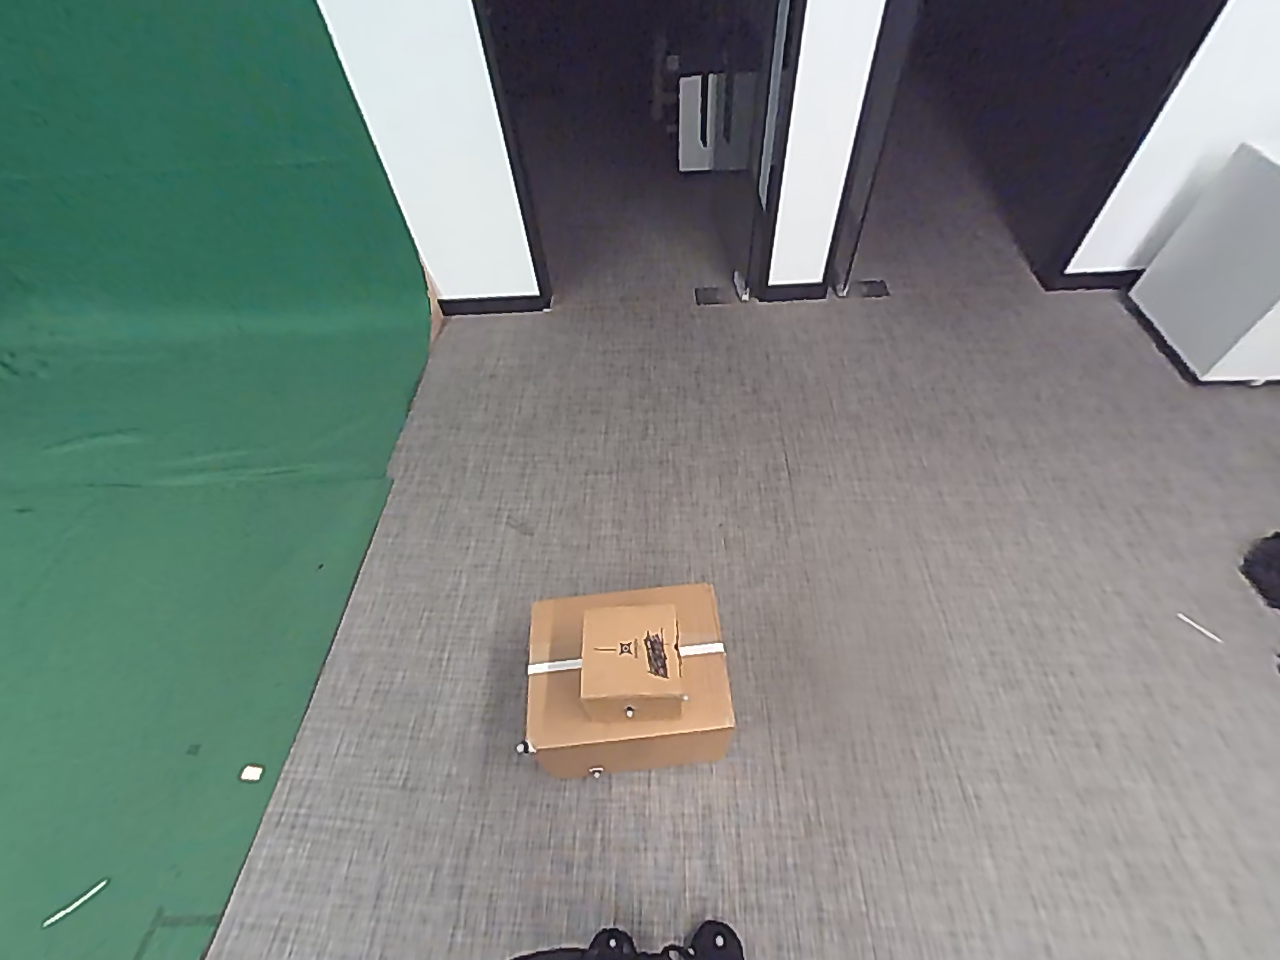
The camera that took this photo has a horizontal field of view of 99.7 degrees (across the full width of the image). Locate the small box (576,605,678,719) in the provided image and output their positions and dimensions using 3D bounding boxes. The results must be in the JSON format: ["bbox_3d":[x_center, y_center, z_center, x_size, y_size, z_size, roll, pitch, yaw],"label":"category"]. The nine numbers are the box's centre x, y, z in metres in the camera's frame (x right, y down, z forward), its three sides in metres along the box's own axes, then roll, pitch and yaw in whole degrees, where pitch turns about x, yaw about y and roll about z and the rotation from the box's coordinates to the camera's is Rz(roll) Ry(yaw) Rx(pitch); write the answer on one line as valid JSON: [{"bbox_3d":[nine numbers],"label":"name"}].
[{"bbox_3d":[-0.020,0.352,1.037,0.179,0.176,0.168,-3,53,3],"label":"small box"}]
